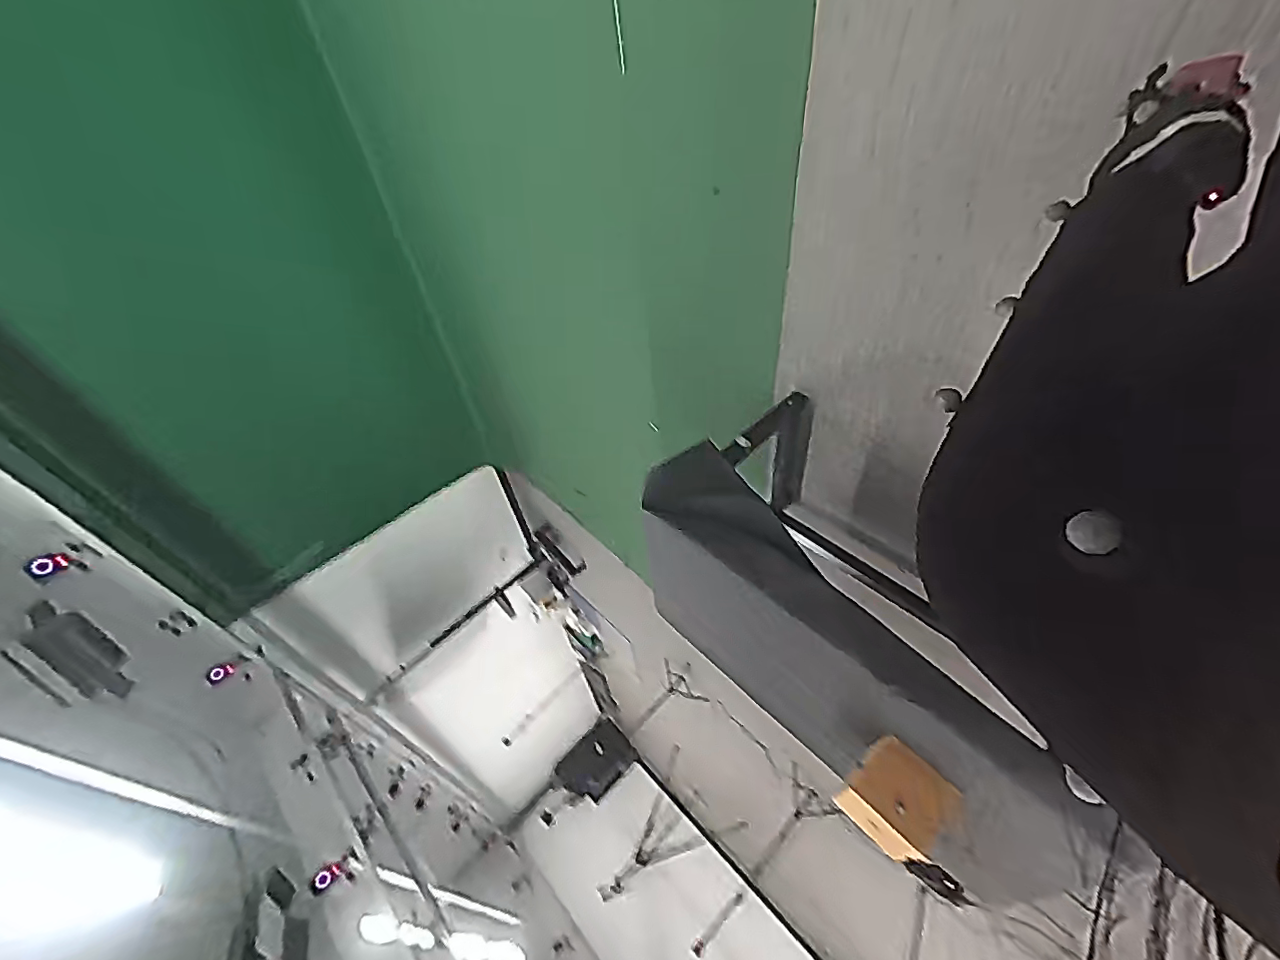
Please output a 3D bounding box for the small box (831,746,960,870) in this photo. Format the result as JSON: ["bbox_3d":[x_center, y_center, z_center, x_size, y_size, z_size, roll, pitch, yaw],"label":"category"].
[{"bbox_3d":[0.572,0.731,1.219,0.179,0.176,0.168,38,151,26],"label":"small box"}]
